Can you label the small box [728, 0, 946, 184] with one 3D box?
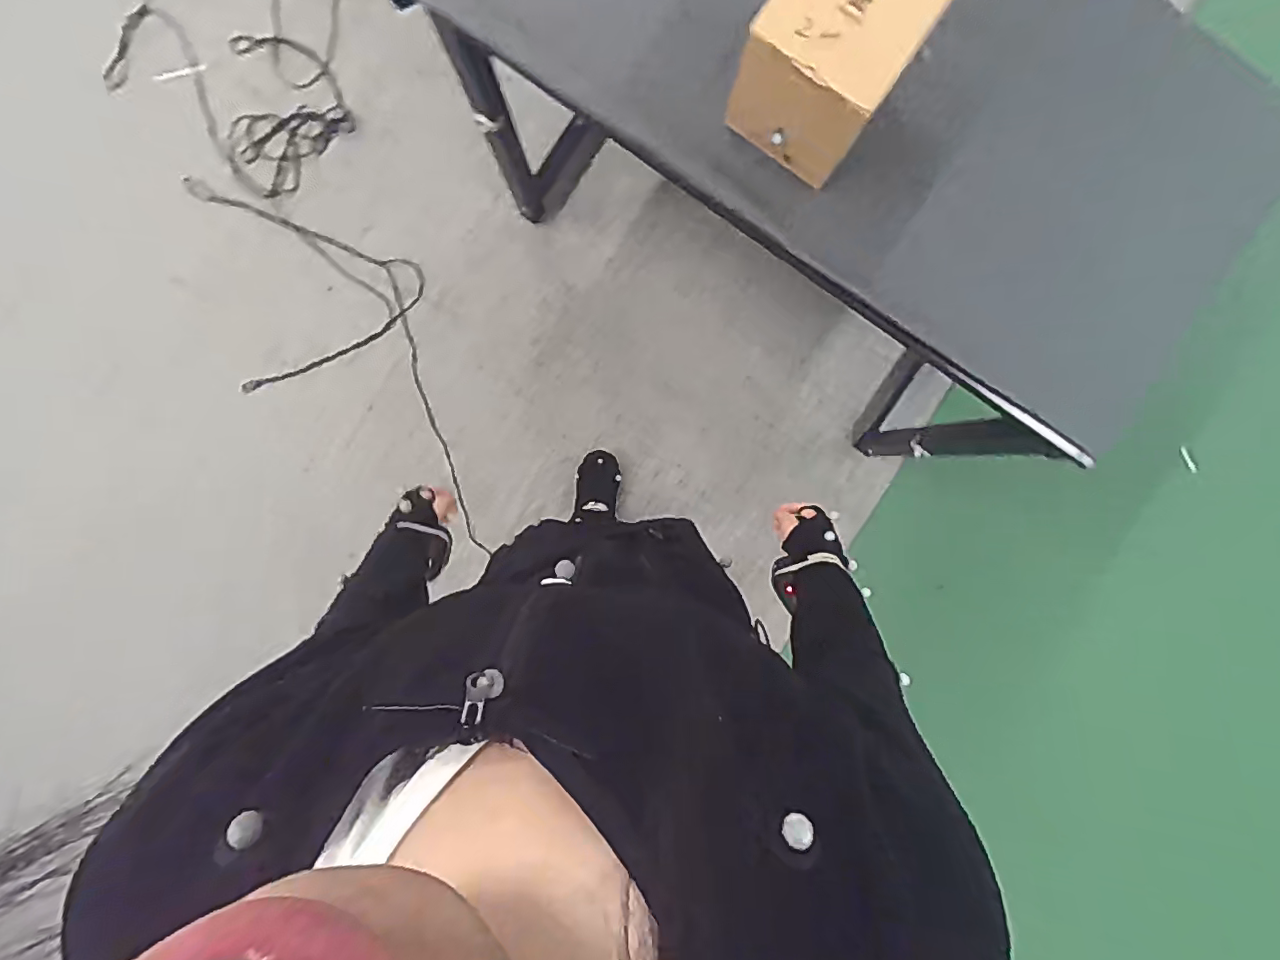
[{"bbox_3d":[0.228,-0.521,0.673,0.168,0.176,0.179,34,90,-2],"label":"small box"}]
